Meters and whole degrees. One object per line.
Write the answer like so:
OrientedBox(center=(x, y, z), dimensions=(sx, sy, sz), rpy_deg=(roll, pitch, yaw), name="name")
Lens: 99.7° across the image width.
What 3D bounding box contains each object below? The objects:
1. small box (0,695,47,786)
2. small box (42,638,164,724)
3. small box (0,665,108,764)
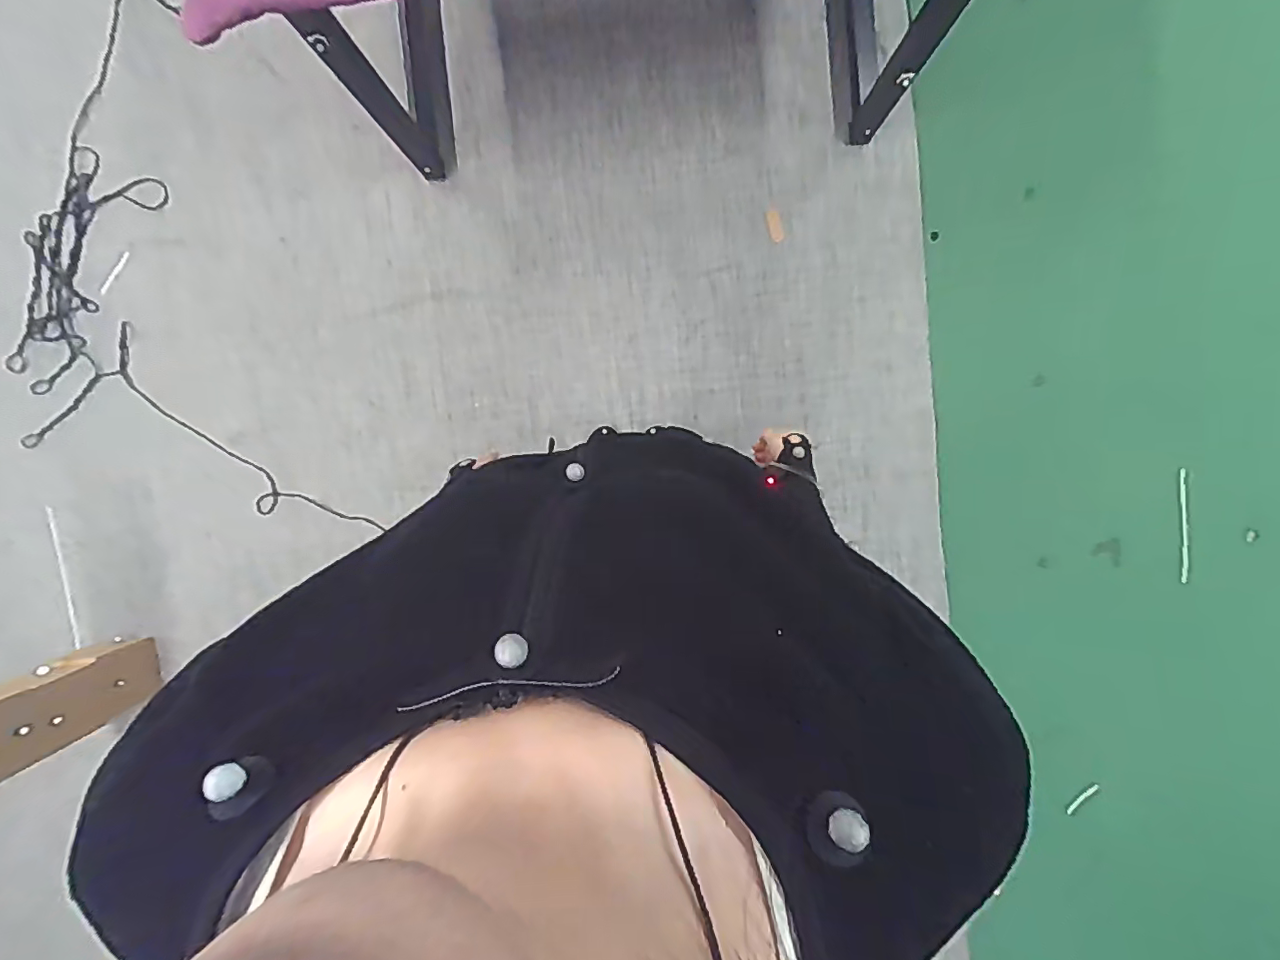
OrientedBox(center=(-1.475, 0.590, 1.180), dimensions=(0.168, 0.176, 0.179), rpy_deg=(-9, 94, 2), name="small box")
OrientedBox(center=(-1.483, 0.561, 1.506), dimensions=(0.168, 0.176, 0.179), rpy_deg=(-7, 94, 2), name="small box")
OrientedBox(center=(-1.486, 0.584, 1.344), dimensions=(0.168, 0.176, 0.179), rpy_deg=(-7, 94, 1), name="small box")
